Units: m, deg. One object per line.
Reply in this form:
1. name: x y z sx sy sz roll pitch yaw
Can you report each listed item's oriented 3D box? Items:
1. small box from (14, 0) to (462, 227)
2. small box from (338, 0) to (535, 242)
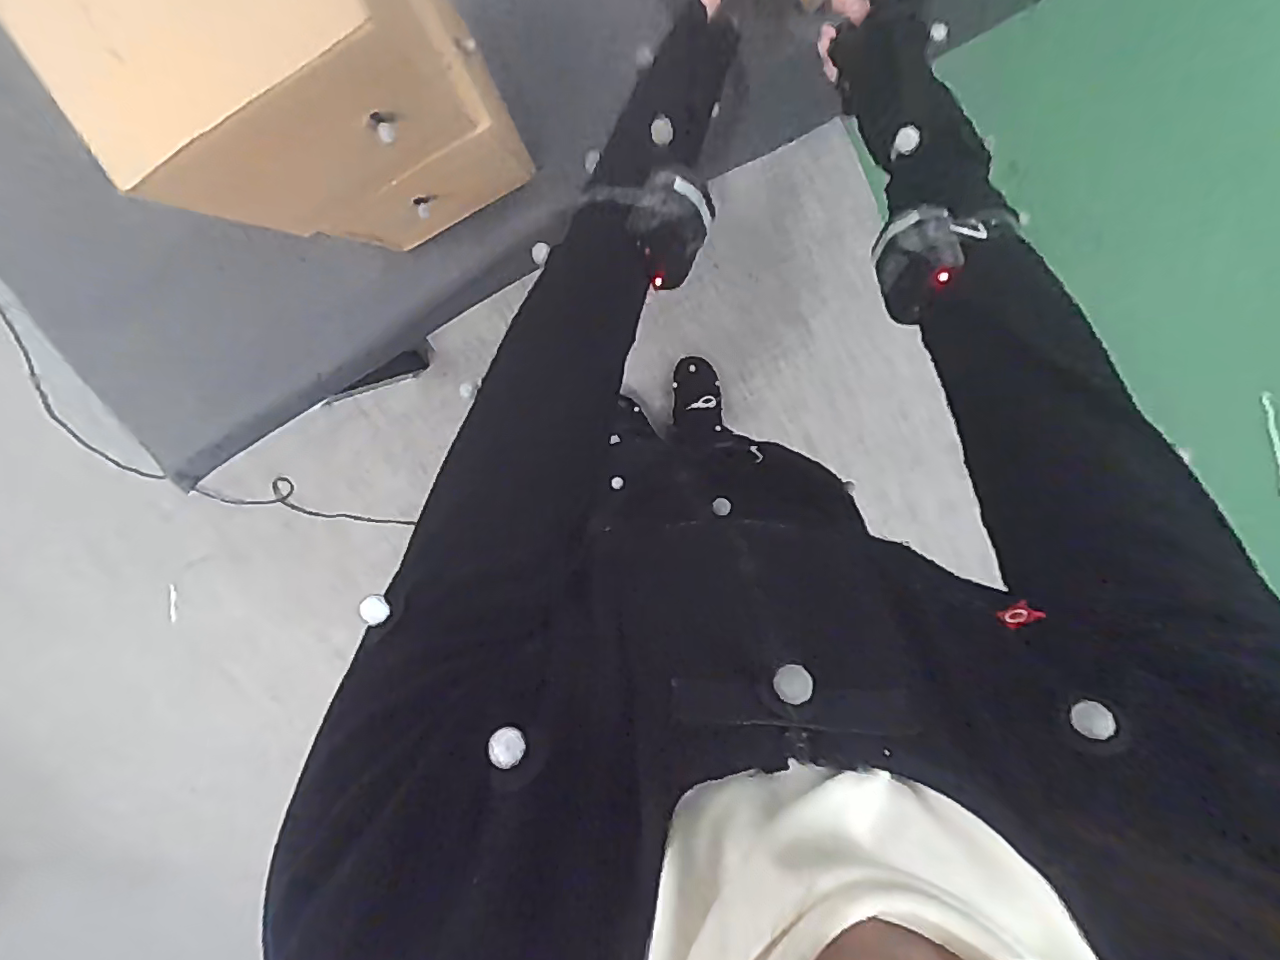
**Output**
1. small box: -0.242 -0.295 0.355 0.179 0.176 0.168 -26 102 10
2. small box: -0.225 -0.347 0.509 0.179 0.176 0.168 -24 104 10
